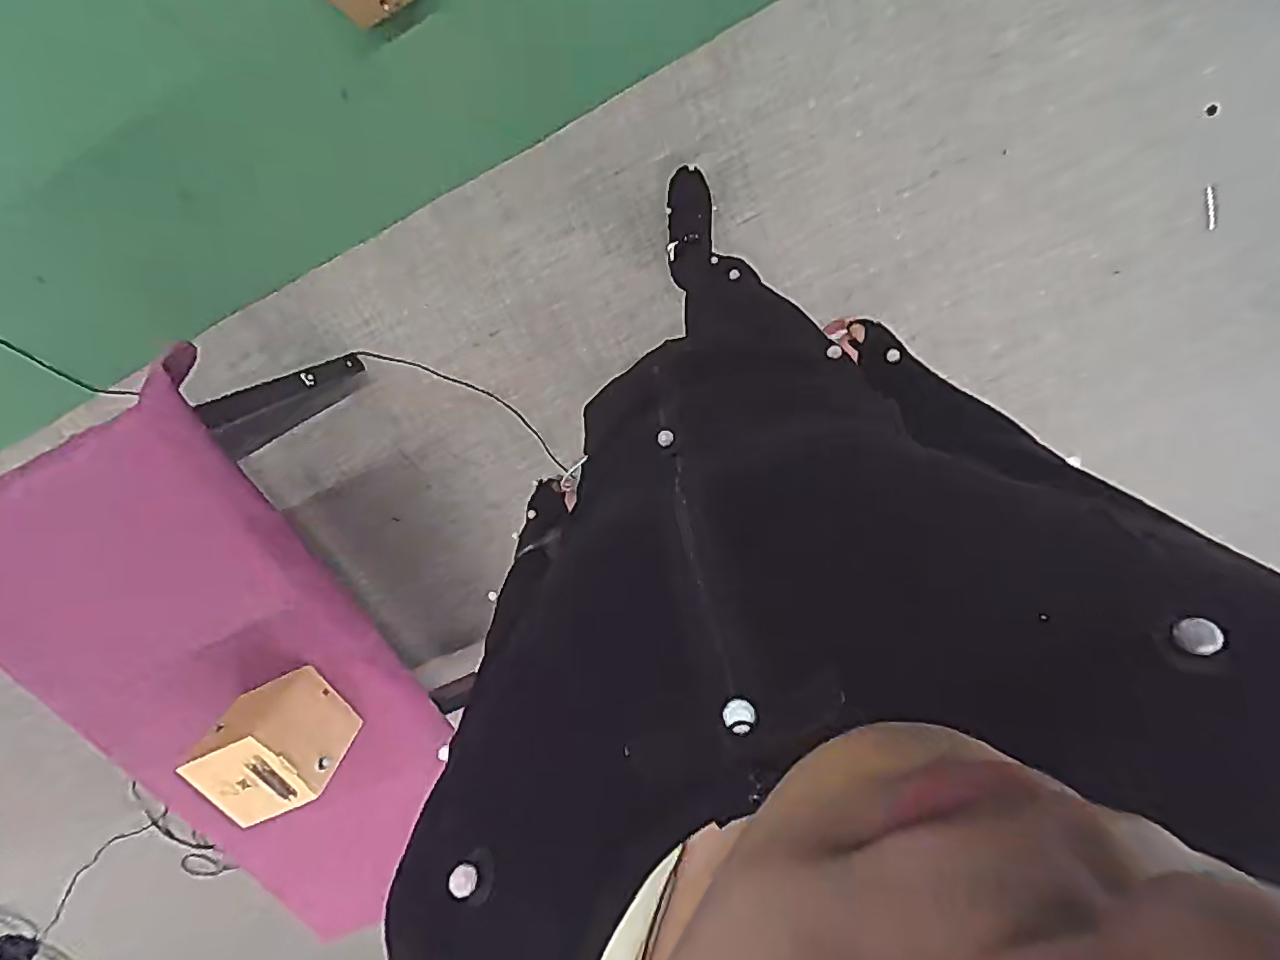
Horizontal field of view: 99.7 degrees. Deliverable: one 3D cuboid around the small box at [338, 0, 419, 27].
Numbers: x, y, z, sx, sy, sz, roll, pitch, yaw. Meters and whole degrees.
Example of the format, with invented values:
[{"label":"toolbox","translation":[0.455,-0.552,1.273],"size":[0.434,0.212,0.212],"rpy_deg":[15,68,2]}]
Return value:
[{"label":"small box","translation":[-0.593,-1.111,1.130],"size":[0.168,0.176,0.179],"rpy_deg":[-23,110,9]}]
